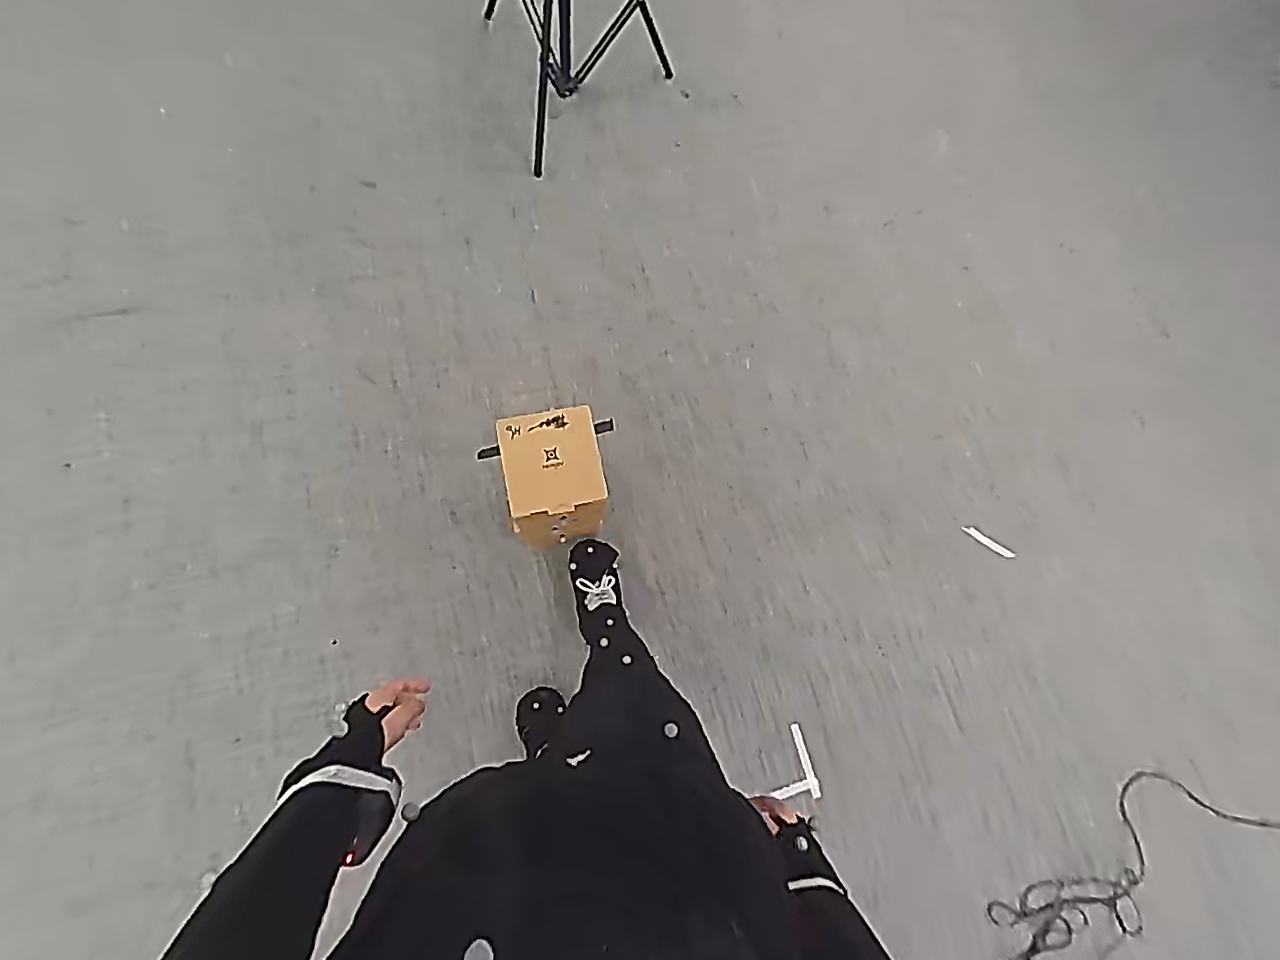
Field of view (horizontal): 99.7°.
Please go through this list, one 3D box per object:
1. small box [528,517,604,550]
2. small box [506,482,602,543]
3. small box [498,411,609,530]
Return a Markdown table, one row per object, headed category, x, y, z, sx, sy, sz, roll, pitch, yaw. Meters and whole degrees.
| category | x | y | z | sx | sy | sz | roll | pitch | yaw |
| --- | --- | --- | --- | --- | --- | --- | --- | --- | --- |
| small box | -0.193 | 0.066 | 1.308 | 0.179 | 0.176 | 0.168 | -12 | 79 | -9 |
| small box | -0.180 | 0.034 | 1.147 | 0.179 | 0.176 | 0.168 | -10 | 79 | -9 |
| small box | -0.154 | -0.008 | 0.991 | 0.168 | 0.176 | 0.179 | -11 | 79 | -9 |
